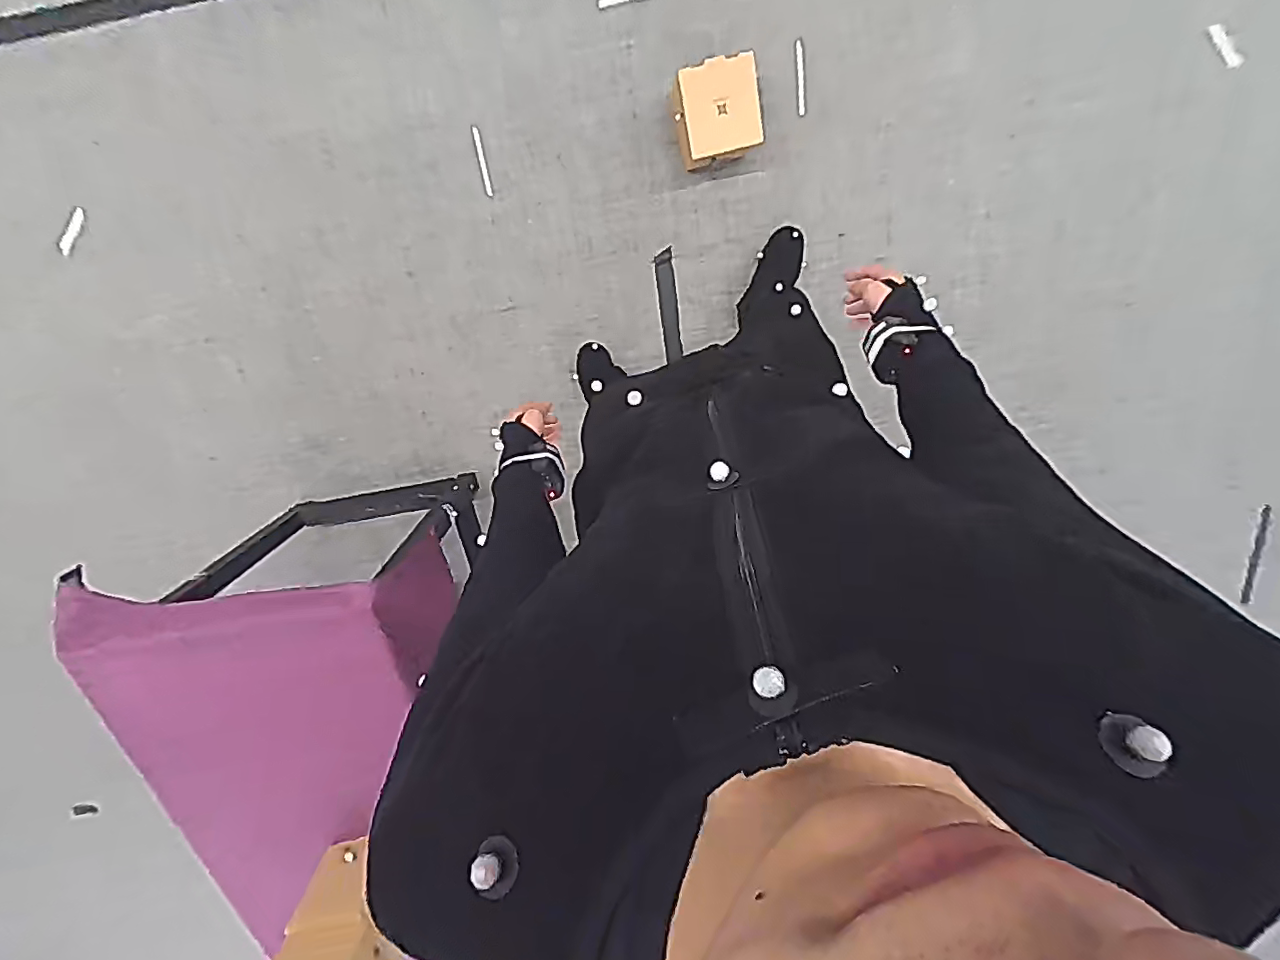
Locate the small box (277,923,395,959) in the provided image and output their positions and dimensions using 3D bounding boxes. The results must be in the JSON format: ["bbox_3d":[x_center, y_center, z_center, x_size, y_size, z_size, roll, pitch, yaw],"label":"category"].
[{"bbox_3d":[-0.581,0.961,0.991,0.179,0.176,0.168,-14,112,5],"label":"small box"}]

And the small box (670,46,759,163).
[{"bbox_3d":[0.168,-0.851,1.248,0.168,0.176,0.179,-13,111,3],"label":"small box"}]

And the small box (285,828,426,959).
[{"bbox_3d":[-0.581,0.879,1.135,0.168,0.176,0.179,-19,110,6],"label":"small box"}]
